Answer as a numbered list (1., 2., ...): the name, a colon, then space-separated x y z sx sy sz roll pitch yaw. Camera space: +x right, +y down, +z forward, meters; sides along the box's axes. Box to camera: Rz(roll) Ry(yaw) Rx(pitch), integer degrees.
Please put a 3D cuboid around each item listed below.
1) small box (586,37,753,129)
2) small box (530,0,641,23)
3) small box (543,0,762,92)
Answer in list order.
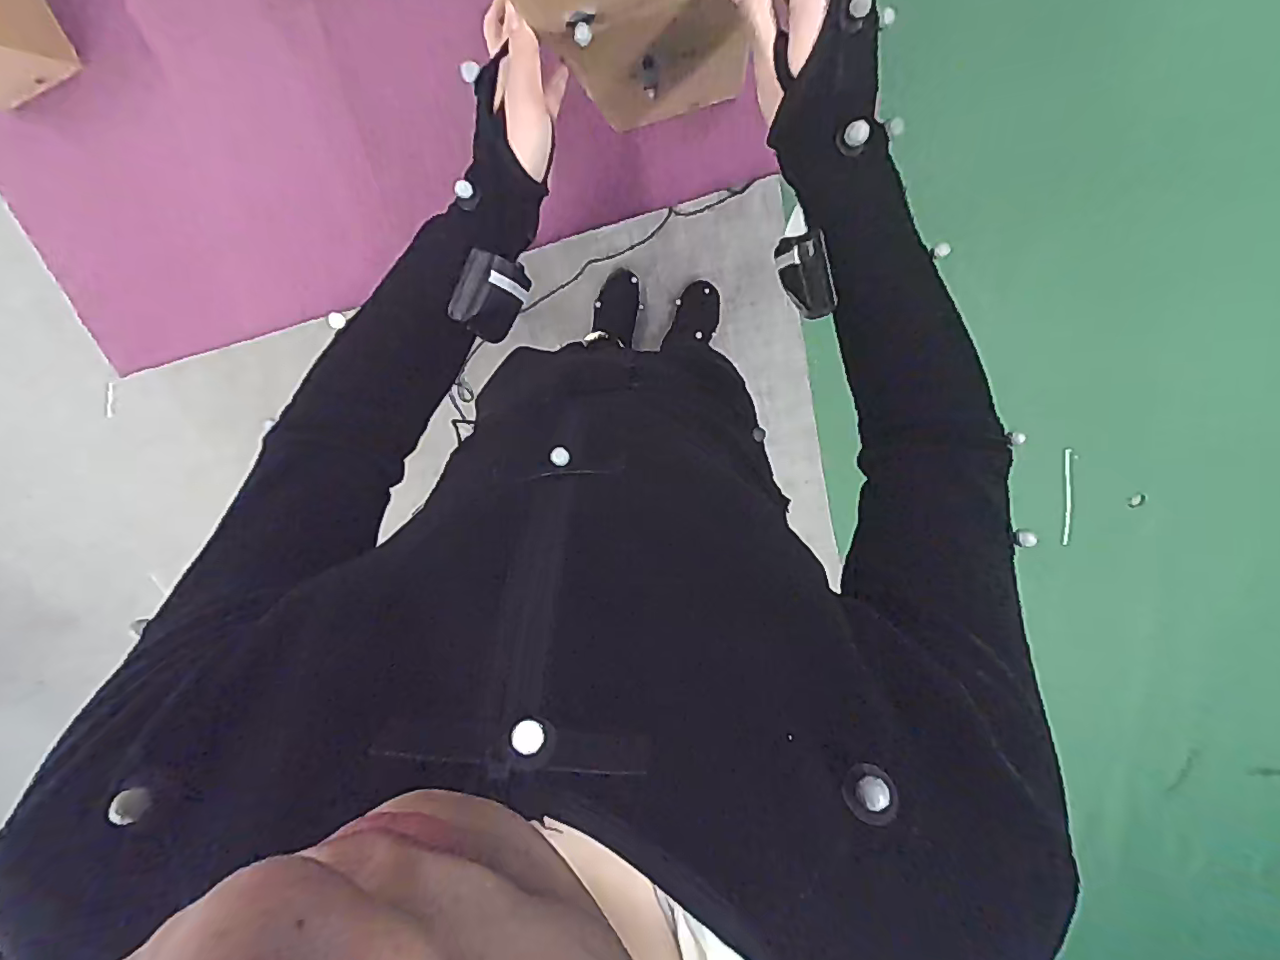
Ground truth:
1. small box: 0.021 -0.509 0.573 0.168 0.176 0.179 -9 110 11
2. small box: -0.016 -0.379 0.275 0.168 0.176 0.179 -10 109 12
3. small box: 0.002 -0.447 0.423 0.168 0.176 0.179 -10 110 12
